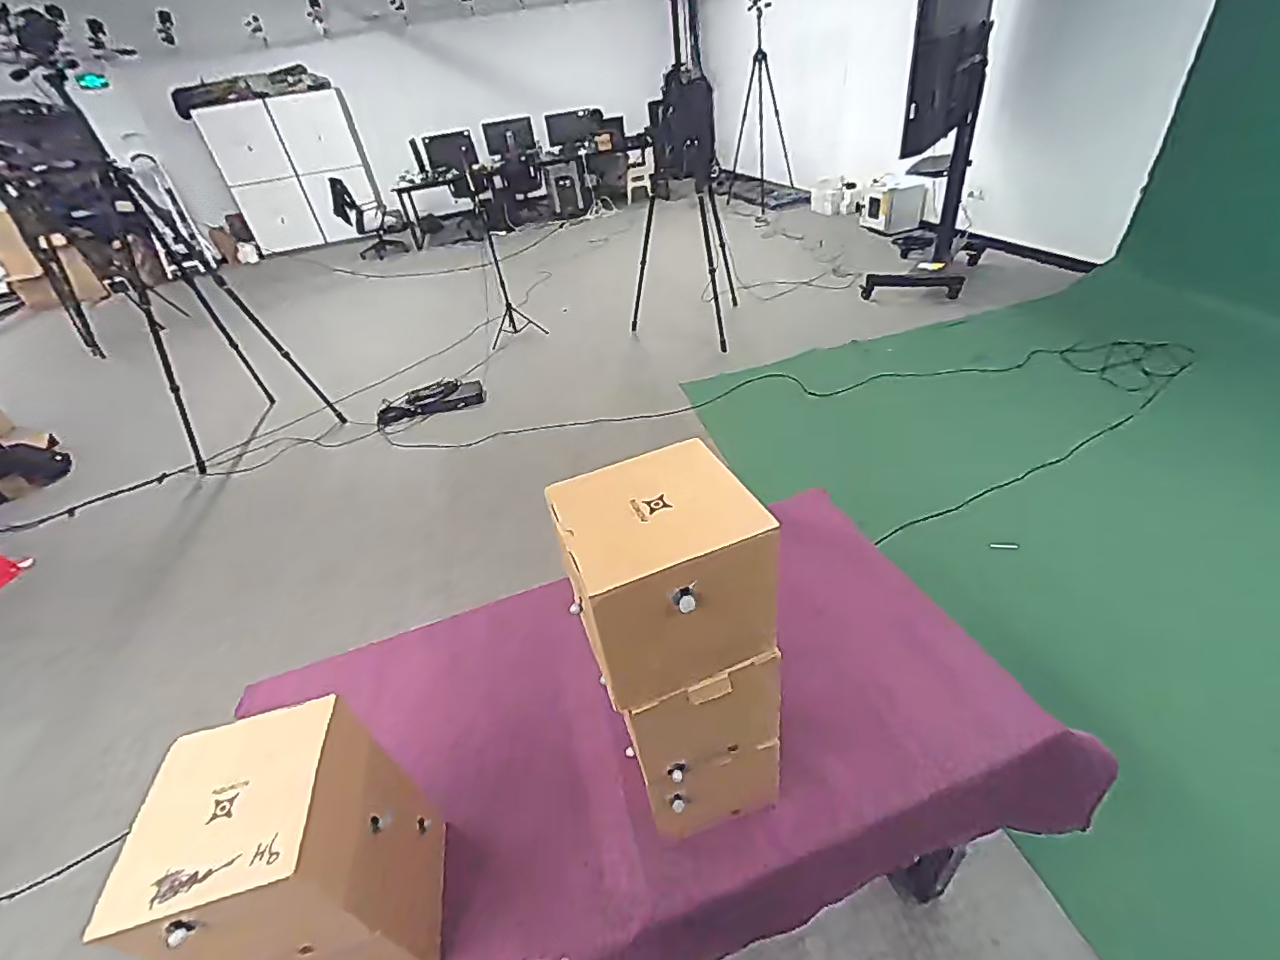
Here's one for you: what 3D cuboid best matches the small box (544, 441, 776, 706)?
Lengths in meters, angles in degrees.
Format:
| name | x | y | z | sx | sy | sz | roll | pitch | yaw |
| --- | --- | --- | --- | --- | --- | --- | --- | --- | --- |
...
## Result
| name | x | y | z | sx | sy | sz | roll | pitch | yaw |
| --- | --- | --- | --- | --- | --- | --- | --- | --- | --- |
| small box | 0.020 | 0.091 | 0.552 | 0.179 | 0.176 | 0.168 | -20 | 37 | -11 |

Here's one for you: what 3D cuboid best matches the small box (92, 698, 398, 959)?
| name | x | y | z | sx | sy | sz | roll | pitch | yaw |
| --- | --- | --- | --- | --- | --- | --- | --- | --- | --- |
| small box | -0.369 | 0.366 | 0.554 | 0.168 | 0.176 | 0.179 | -16 | 36 | -5 |

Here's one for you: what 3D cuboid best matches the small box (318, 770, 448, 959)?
| name | x | y | z | sx | sy | sz | roll | pitch | yaw |
| --- | --- | --- | --- | --- | --- | --- | --- | --- | --- |
| small box | -0.344 | 0.496 | 0.653 | 0.168 | 0.176 | 0.179 | -15 | 37 | -6 |

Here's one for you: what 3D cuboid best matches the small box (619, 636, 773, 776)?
| name | x | y | z | sx | sy | sz | roll | pitch | yaw |
| --- | --- | --- | --- | --- | --- | --- | --- | --- | --- |
| small box | 0.048 | 0.221 | 0.647 | 0.168 | 0.176 | 0.179 | -18 | 36 | -11 |
